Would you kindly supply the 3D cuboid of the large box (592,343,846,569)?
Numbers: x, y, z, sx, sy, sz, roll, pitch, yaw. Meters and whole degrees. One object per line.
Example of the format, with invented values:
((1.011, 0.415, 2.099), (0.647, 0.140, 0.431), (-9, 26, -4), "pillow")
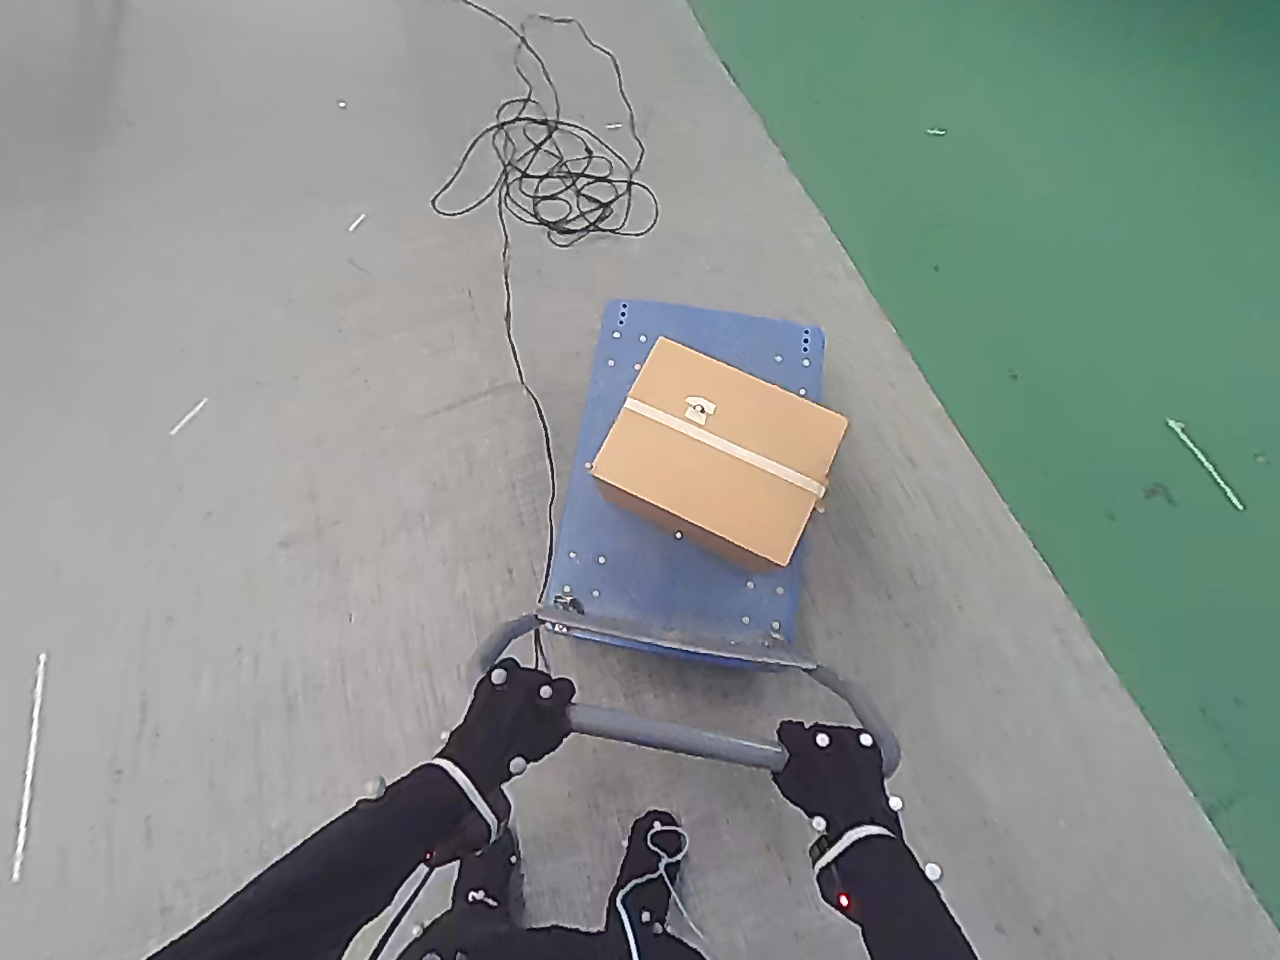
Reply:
((0.159, -0.030, 1.165), (0.408, 0.320, 0.320), (25, 80, 8), "large box")
